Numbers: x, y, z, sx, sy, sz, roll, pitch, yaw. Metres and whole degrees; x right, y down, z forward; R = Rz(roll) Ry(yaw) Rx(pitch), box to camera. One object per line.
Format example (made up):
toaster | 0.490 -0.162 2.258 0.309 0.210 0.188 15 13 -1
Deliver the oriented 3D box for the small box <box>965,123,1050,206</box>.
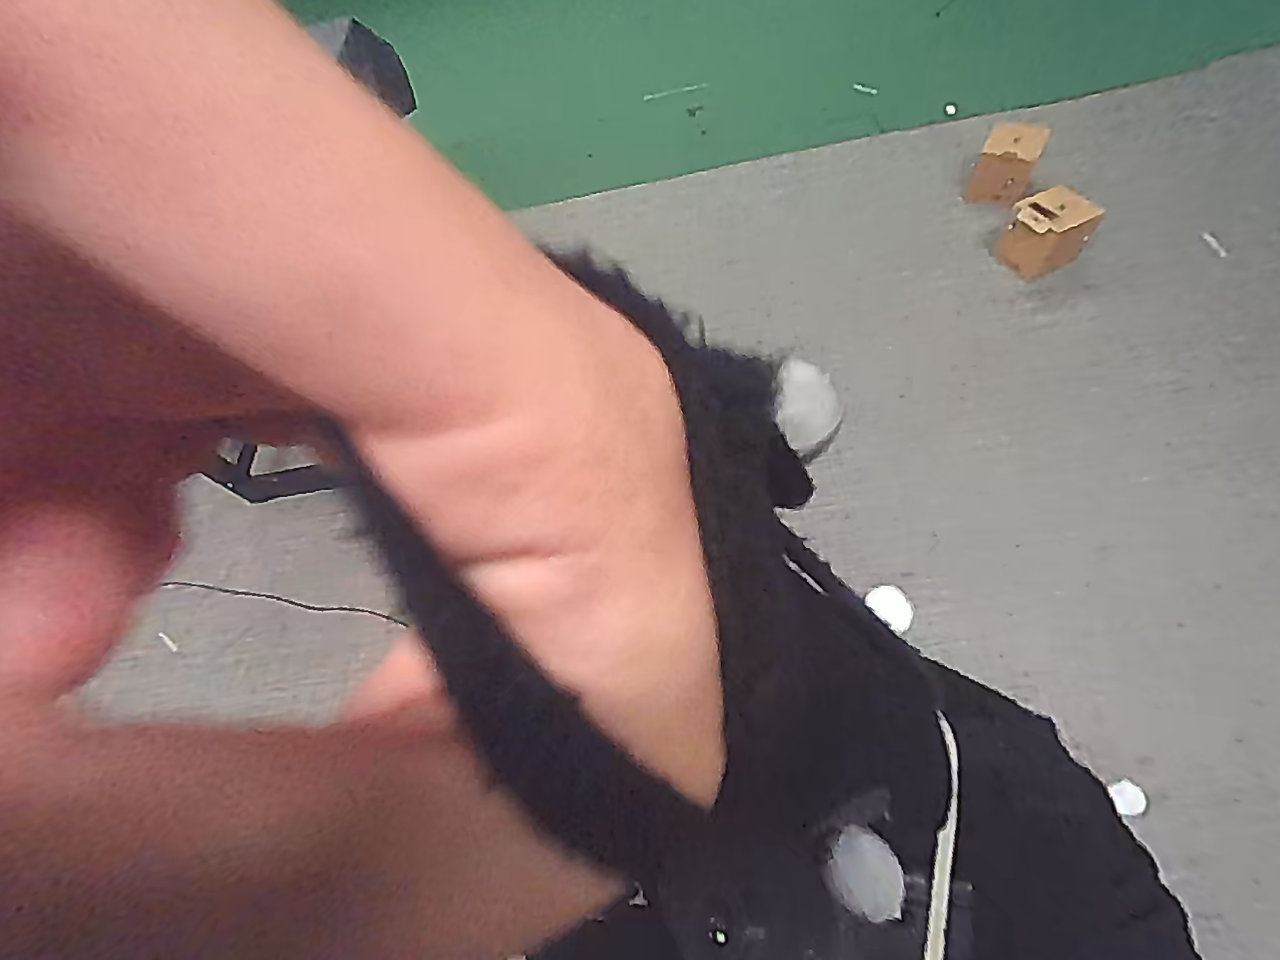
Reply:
small box | 1.215 -1.047 1.800 0.168 0.176 0.179 25 67 21
